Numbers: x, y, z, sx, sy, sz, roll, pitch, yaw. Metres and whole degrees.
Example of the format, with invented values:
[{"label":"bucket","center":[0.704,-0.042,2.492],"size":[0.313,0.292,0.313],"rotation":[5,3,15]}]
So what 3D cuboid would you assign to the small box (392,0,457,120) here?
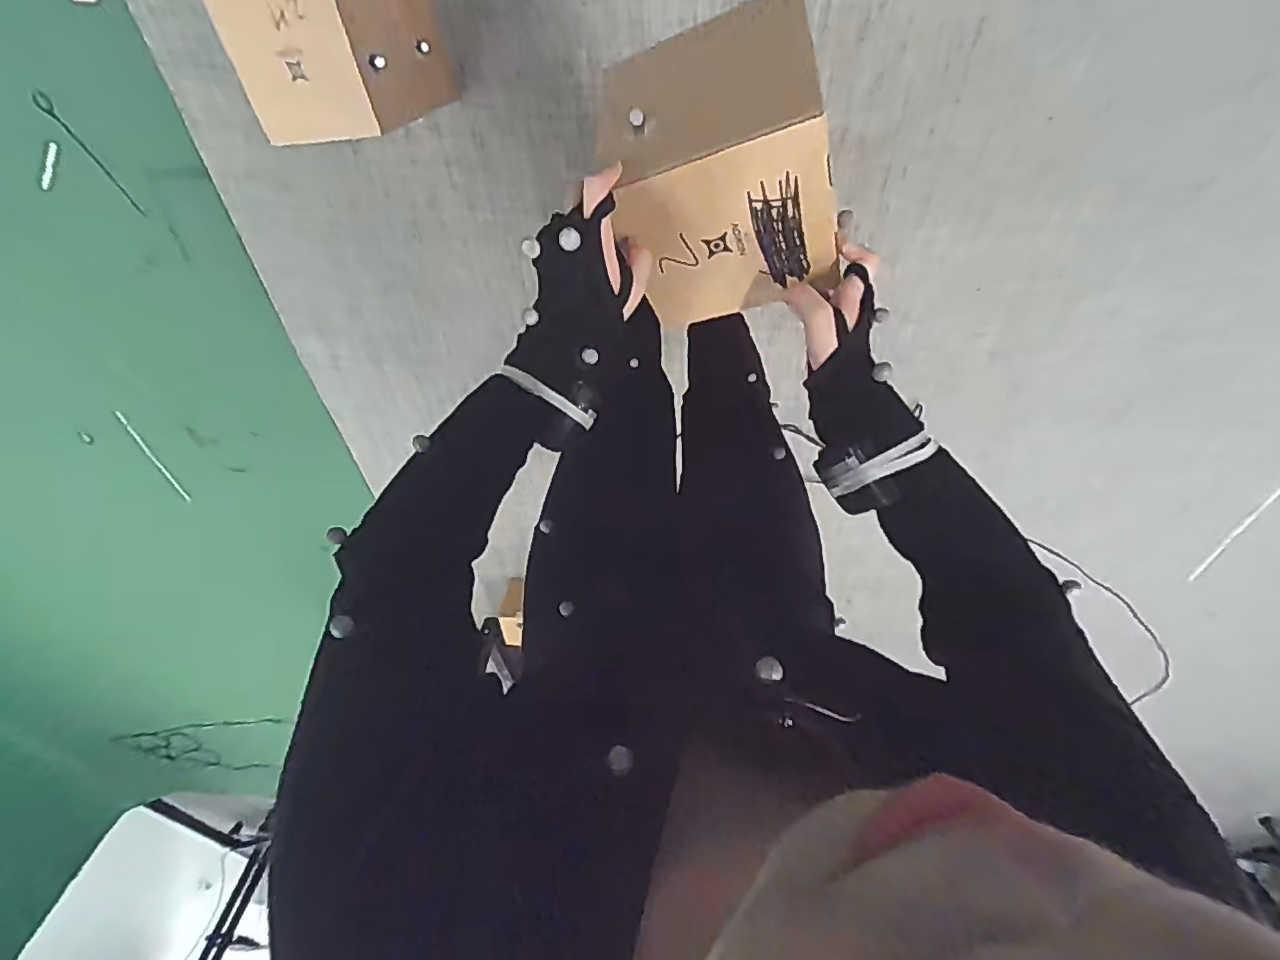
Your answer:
[{"label":"small box","center":[-0.417,-0.698,0.874],"size":[0.168,0.176,0.179],"rotation":[1,132,5]}]

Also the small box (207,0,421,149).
[{"label":"small box","center":[-0.433,-0.585,0.755],"size":[0.168,0.176,0.179],"rotation":[-1,132,6]}]
